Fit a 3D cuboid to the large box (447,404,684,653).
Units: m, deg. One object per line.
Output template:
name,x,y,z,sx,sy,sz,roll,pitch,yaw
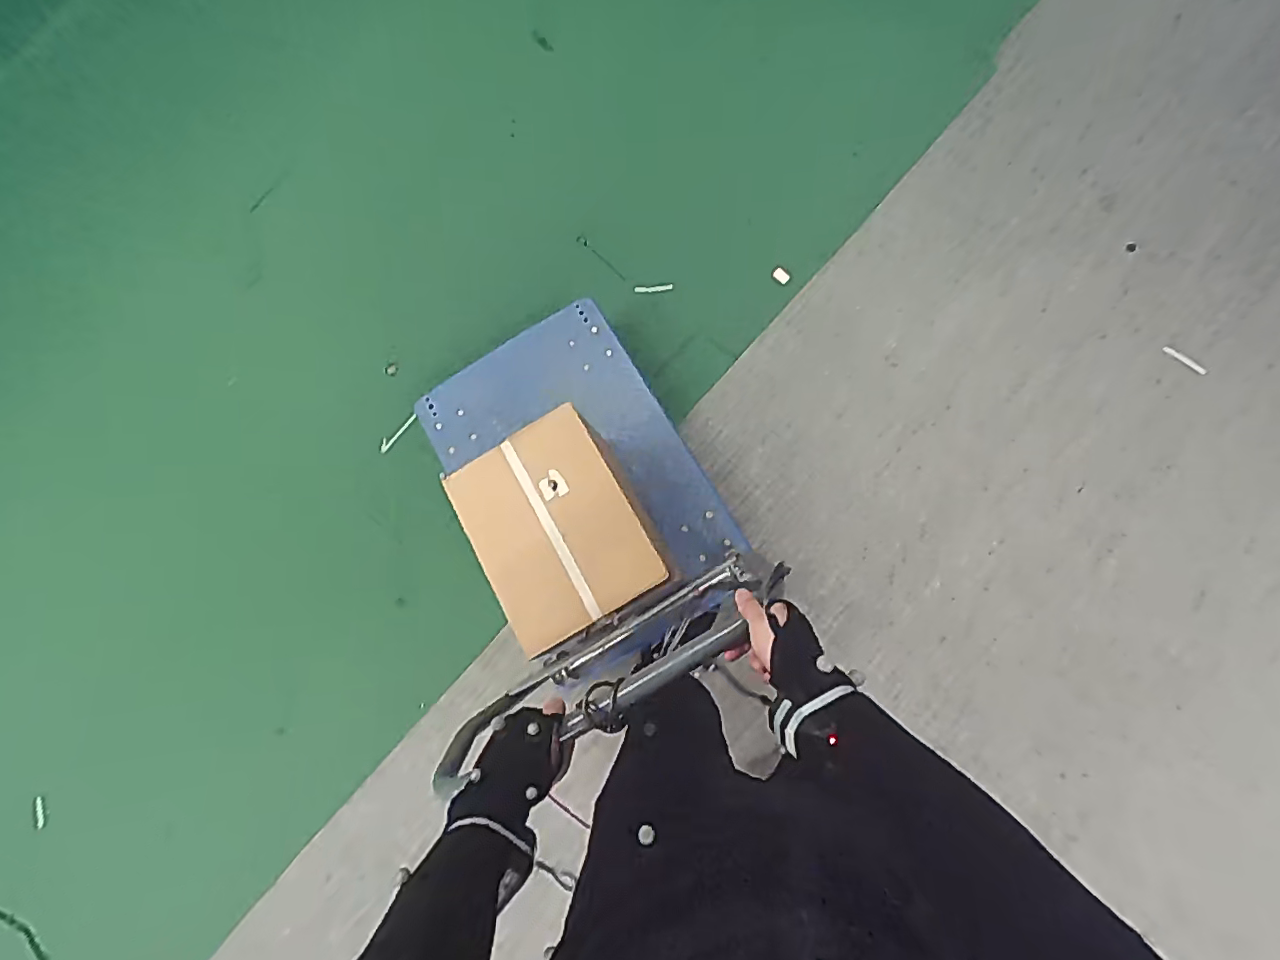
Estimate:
large box,-0.144,0.112,1.196,0.320,0.320,0.408,-31,76,2
